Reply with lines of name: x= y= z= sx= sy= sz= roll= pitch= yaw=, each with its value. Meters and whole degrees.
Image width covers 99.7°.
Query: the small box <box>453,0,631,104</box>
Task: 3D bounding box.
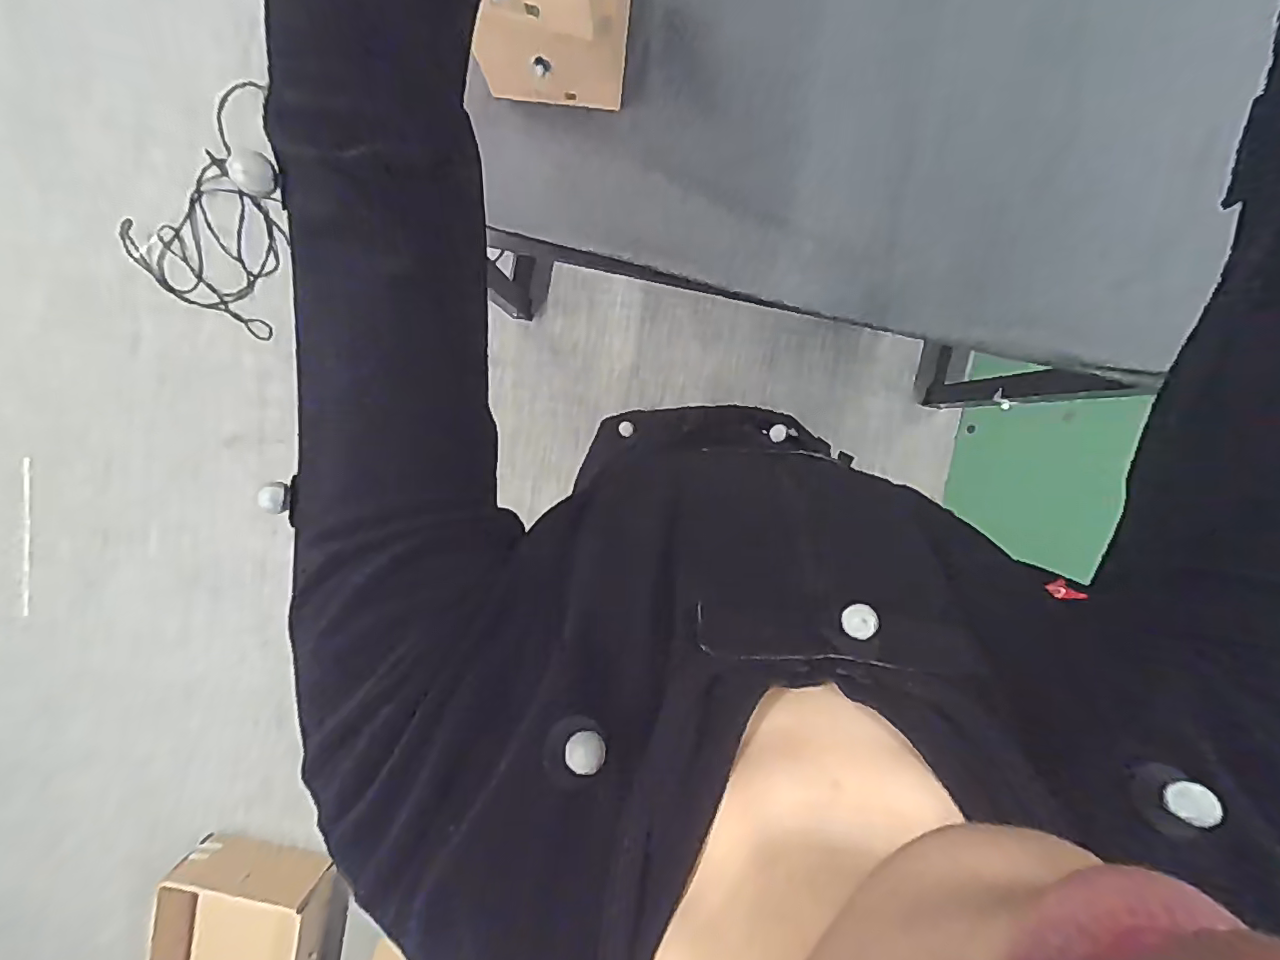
small box: x=-0.096 y=-0.561 z=0.604 sx=0.168 sy=0.176 sz=0.179 roll=6 pitch=95 yaw=-1

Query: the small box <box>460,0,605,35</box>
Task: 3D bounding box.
small box: x=-0.099 y=-0.530 z=0.442 sx=0.168 sy=0.176 sz=0.179 roll=14 pitch=96 yaw=-1
